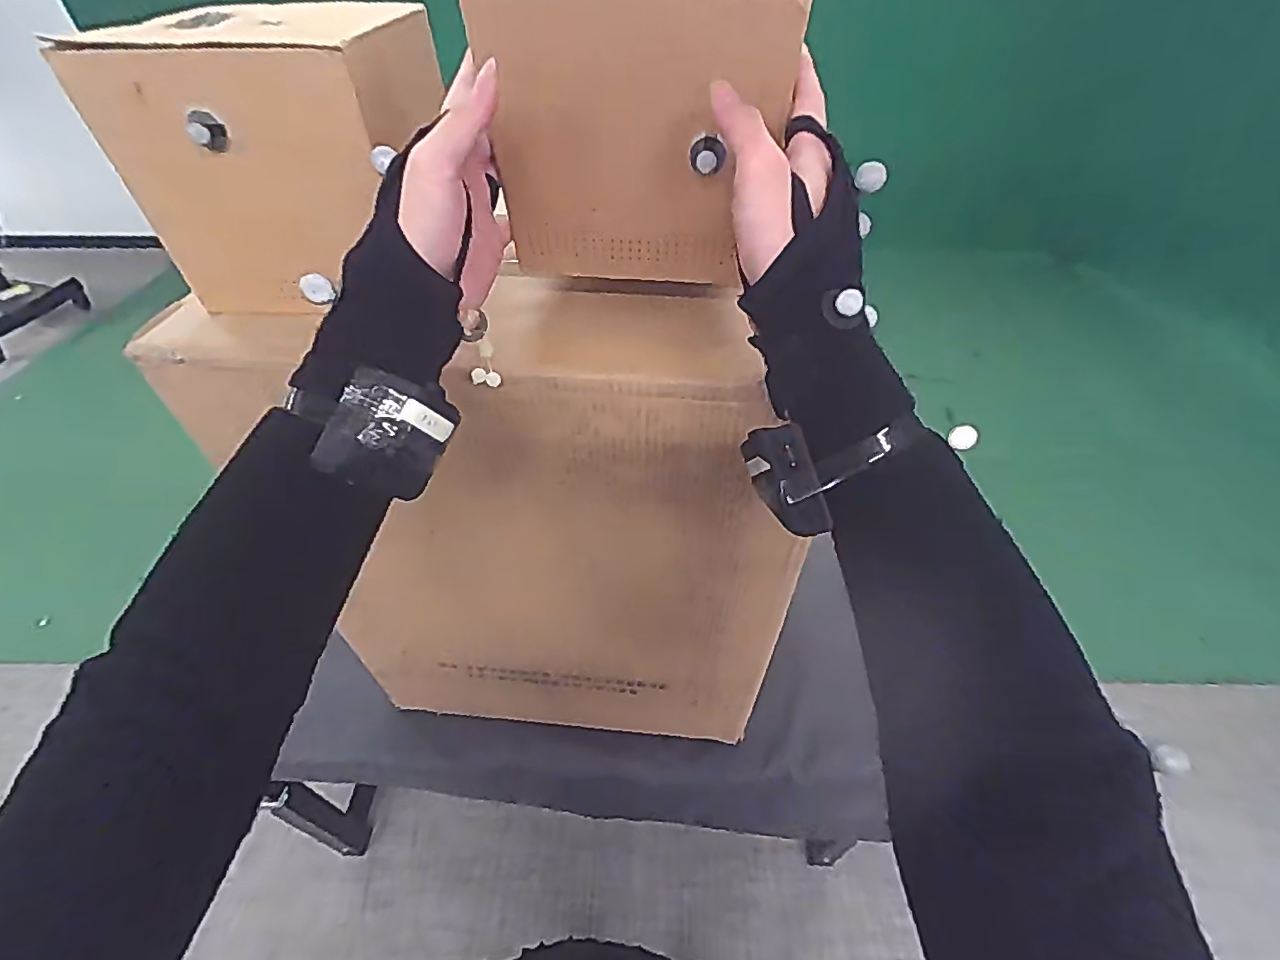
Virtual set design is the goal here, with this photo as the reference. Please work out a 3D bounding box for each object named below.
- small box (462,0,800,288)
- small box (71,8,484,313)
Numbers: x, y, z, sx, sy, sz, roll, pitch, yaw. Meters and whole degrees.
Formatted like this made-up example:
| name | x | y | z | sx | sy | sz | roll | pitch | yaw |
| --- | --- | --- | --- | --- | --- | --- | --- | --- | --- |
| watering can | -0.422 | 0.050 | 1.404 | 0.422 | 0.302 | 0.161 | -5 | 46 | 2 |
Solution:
| name | x | y | z | sx | sy | sz | roll | pitch | yaw |
| --- | --- | --- | --- | --- | --- | --- | --- | --- | --- |
| small box | 0.004 | -0.257 | 0.382 | 0.179 | 0.176 | 0.168 | 5 | 57 | 5 |
| small box | -0.247 | -0.248 | 0.428 | 0.179 | 0.176 | 0.168 | 3 | 49 | 5 |
